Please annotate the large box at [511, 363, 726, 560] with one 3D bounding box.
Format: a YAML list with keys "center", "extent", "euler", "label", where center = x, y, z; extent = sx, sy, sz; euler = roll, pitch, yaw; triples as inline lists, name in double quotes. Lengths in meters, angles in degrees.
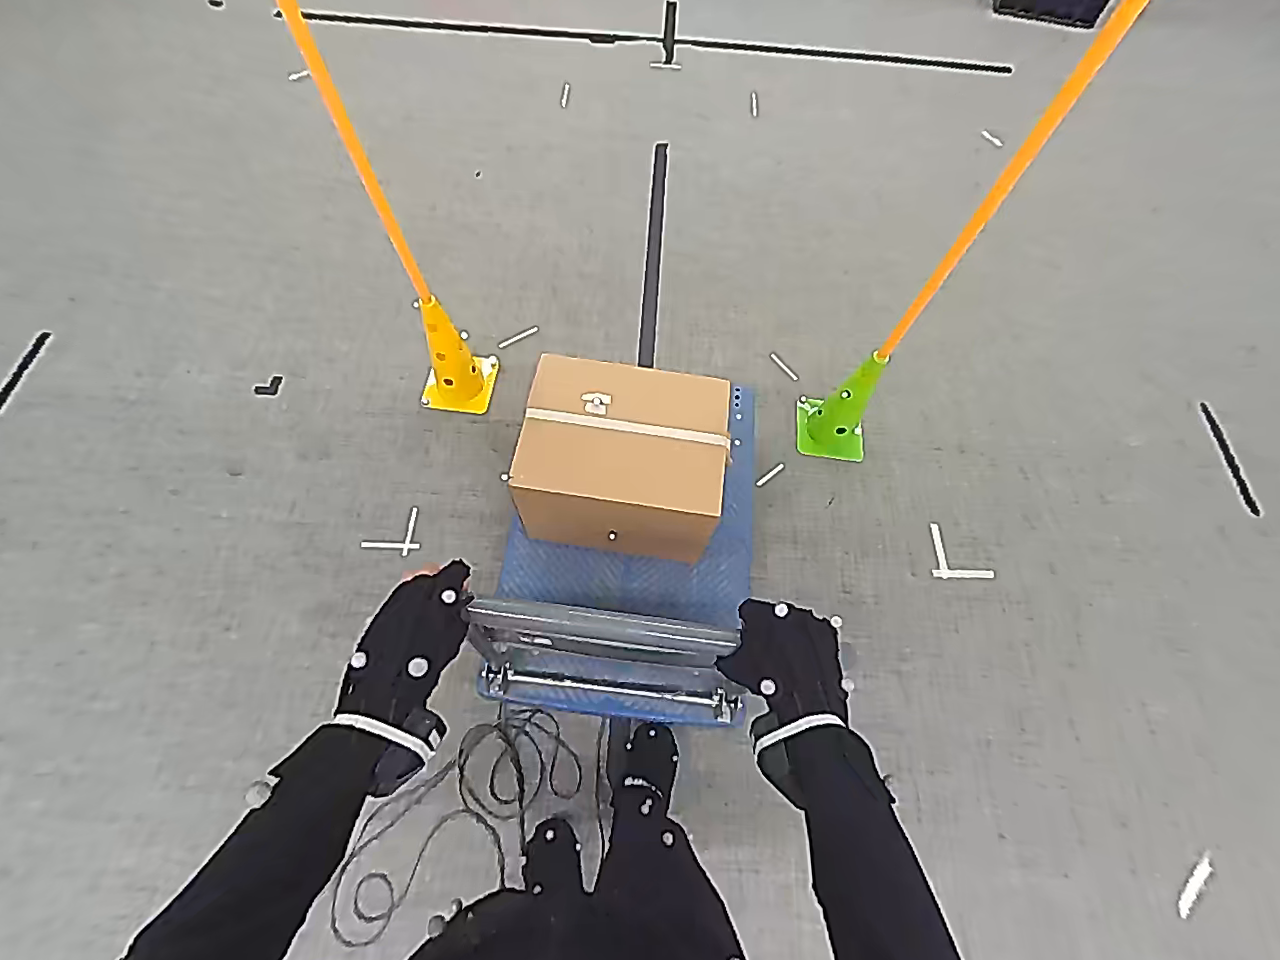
- center: [-0.035, -0.027, 1.221]
  extent: [0.408, 0.320, 0.320]
  euler: [8, 64, 2]
  label: "large box"

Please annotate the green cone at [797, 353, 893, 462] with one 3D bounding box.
- center: [0.591, -0.224, 1.502]
  extent: [0.202, 0.368, 0.200]
  euler: [8, 65, 0]
  label: "green cone"
